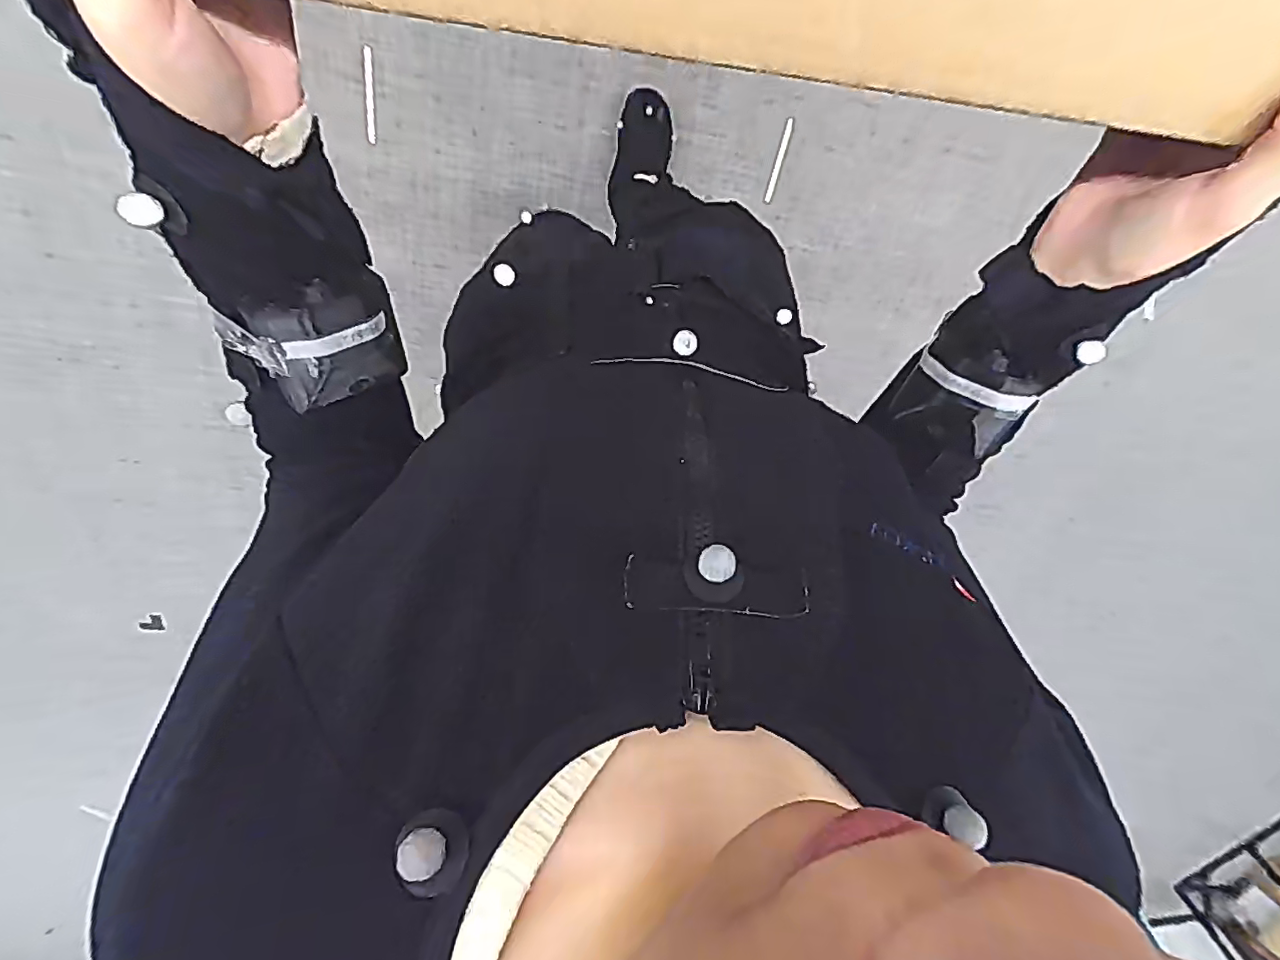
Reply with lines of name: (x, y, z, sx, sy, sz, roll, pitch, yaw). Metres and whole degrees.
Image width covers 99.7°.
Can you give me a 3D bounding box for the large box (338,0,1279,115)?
large box: (0.071, -0.356, 0.152, 0.408, 0.320, 0.320, 2, 144, -8)
